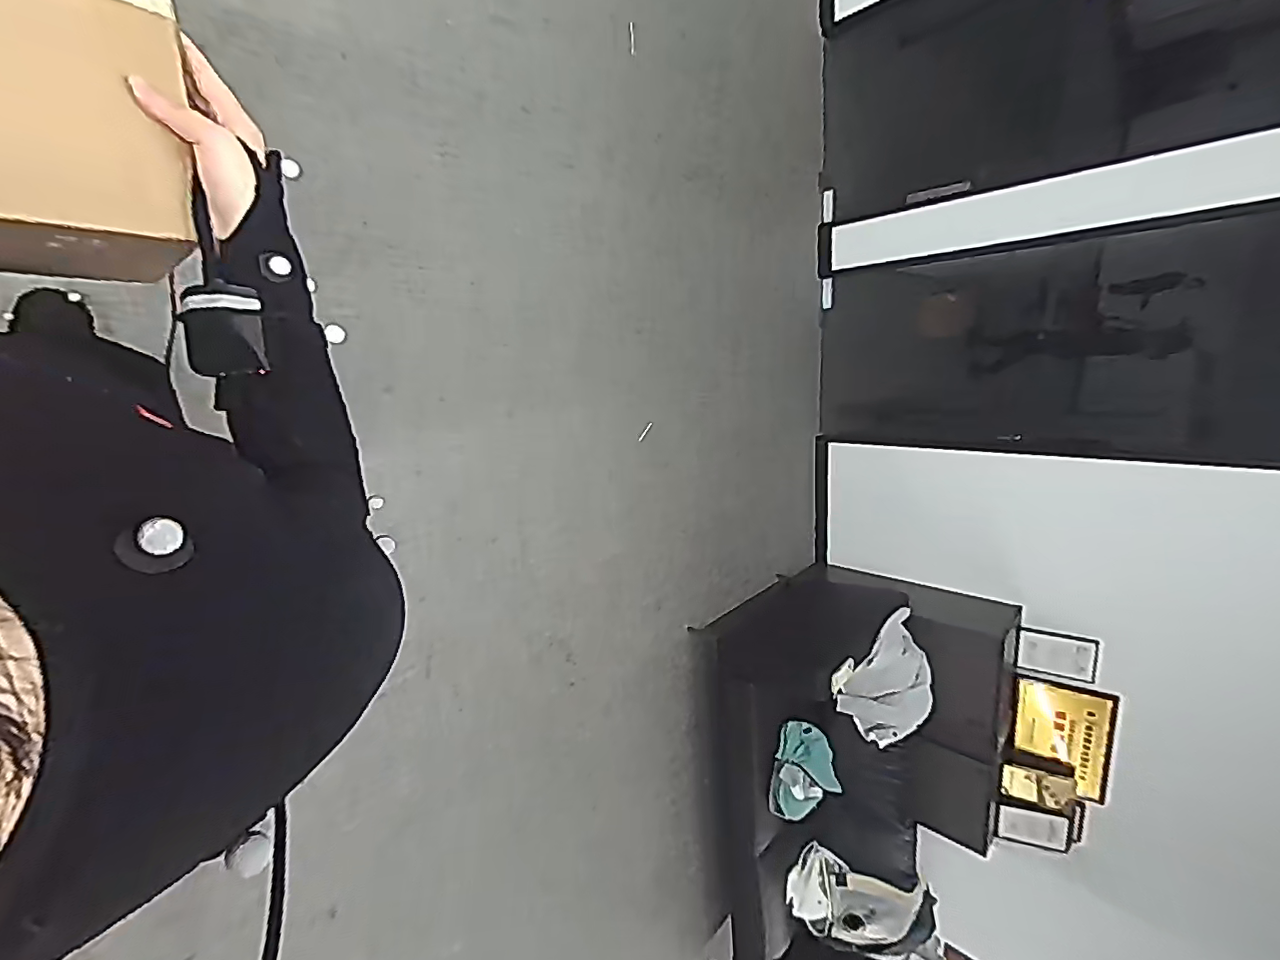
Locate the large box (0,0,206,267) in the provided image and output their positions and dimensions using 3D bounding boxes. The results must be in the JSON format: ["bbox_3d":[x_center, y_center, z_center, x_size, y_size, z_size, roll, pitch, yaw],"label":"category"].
[{"bbox_3d":[-0.580,-0.333,0.339,0.408,0.320,0.320,-13,109,-46],"label":"large box"}]
